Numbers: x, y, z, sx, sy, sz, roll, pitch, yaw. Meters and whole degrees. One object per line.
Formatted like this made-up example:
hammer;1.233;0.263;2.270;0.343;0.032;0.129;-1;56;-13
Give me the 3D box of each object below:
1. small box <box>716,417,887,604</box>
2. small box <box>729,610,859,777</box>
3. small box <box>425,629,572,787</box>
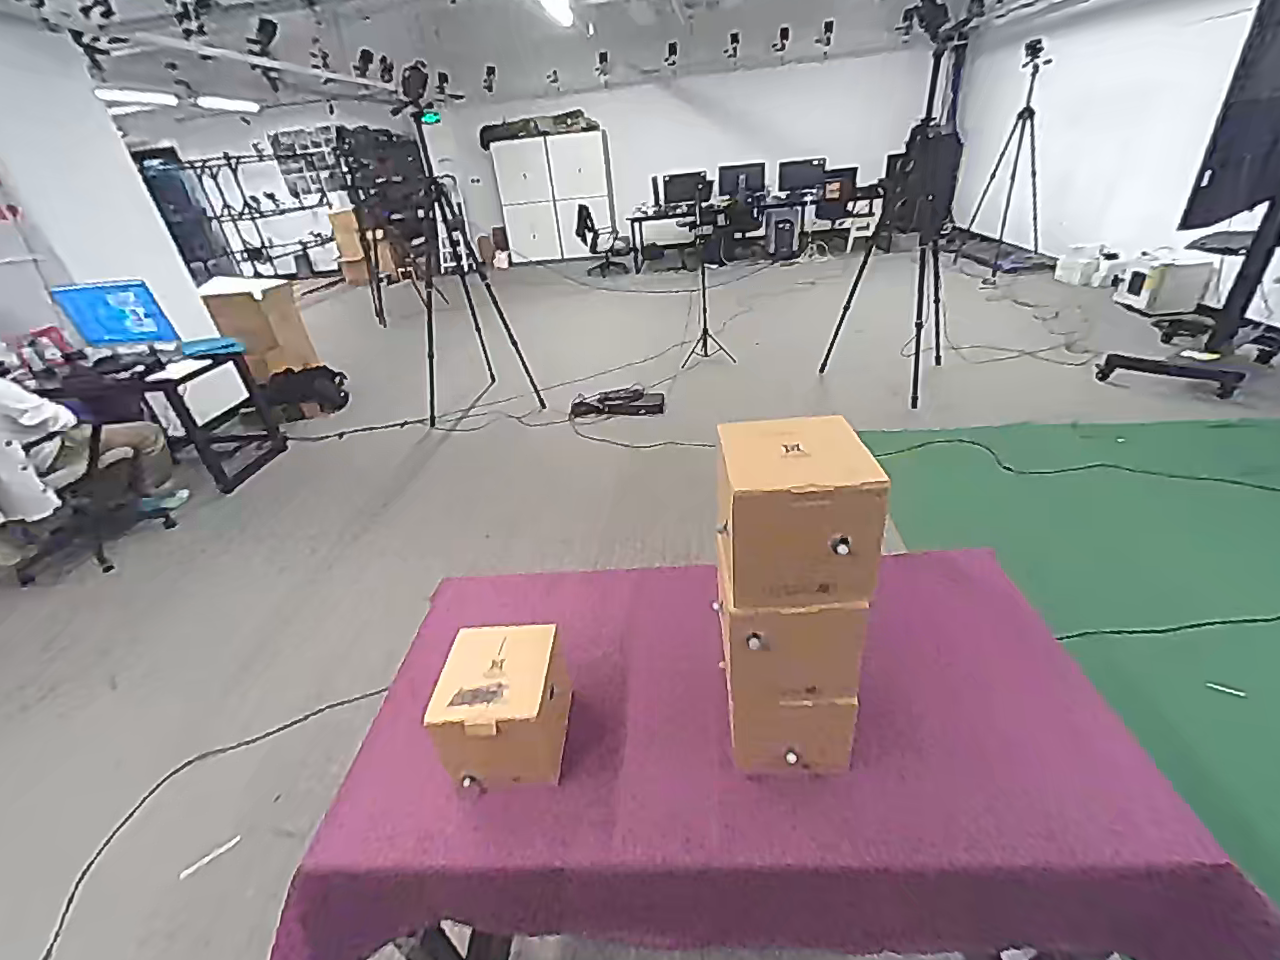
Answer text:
small box;0.186;0.040;0.671;0.168;0.176;0.179;-4;30;4
small box;0.223;0.323;0.832;0.168;0.176;0.179;-4;31;7
small box;-0.208;0.363;0.856;0.168;0.176;0.179;-4;30;4
